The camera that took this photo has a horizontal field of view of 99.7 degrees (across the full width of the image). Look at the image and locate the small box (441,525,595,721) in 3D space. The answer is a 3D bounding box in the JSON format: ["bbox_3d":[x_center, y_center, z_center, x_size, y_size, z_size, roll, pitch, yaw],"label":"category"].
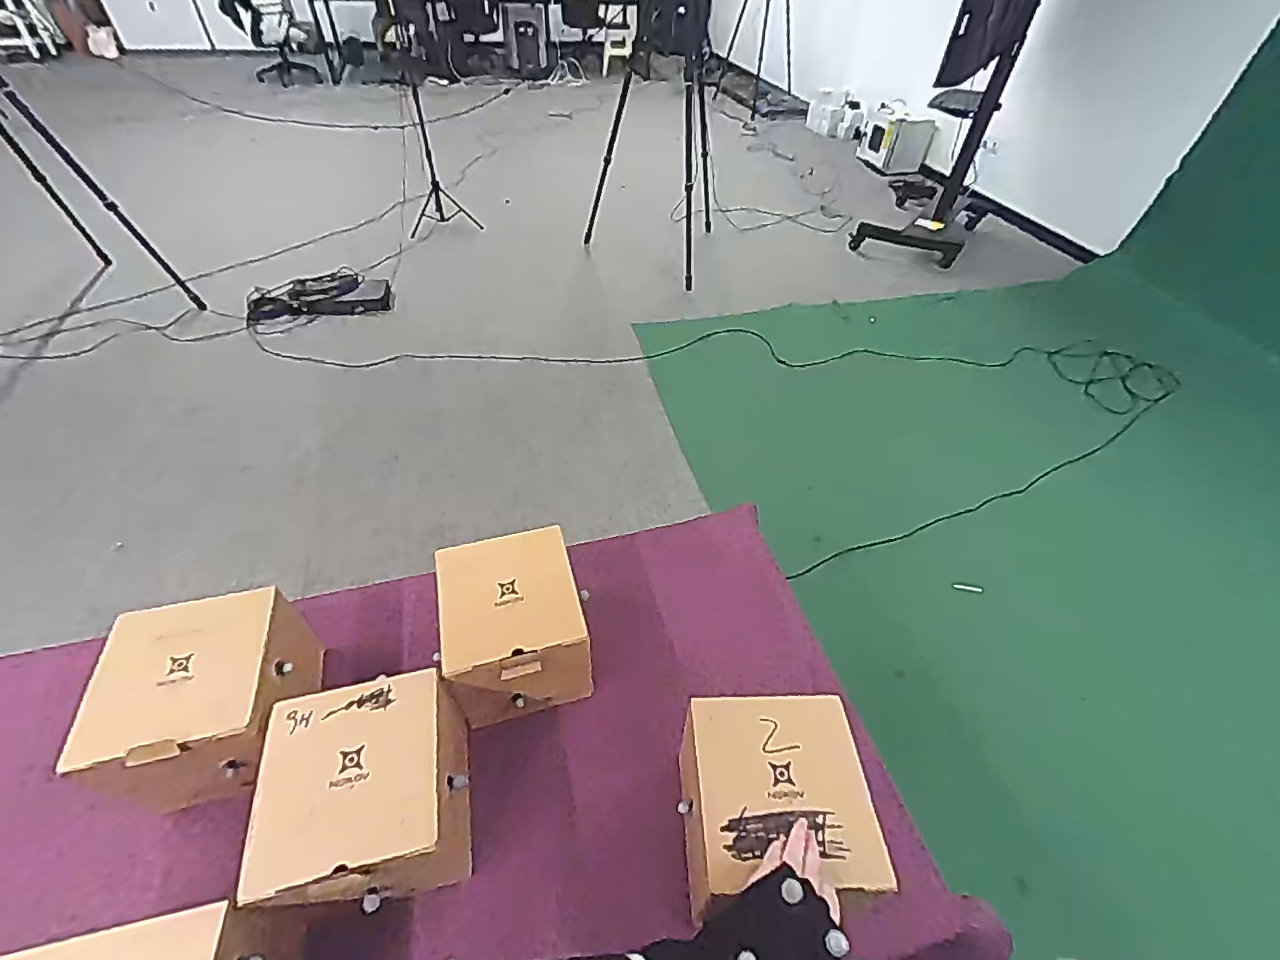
[{"bbox_3d":[-0.161,0.191,0.726,0.168,0.176,0.179,-12,50,-13],"label":"small box"}]

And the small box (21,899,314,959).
[{"bbox_3d":[-0.397,0.482,0.445,0.168,0.176,0.179,-9,48,-9],"label":"small box"}]

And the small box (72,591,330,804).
[{"bbox_3d":[-0.494,0.264,0.647,0.168,0.176,0.179,-10,48,-12],"label":"small box"}]
